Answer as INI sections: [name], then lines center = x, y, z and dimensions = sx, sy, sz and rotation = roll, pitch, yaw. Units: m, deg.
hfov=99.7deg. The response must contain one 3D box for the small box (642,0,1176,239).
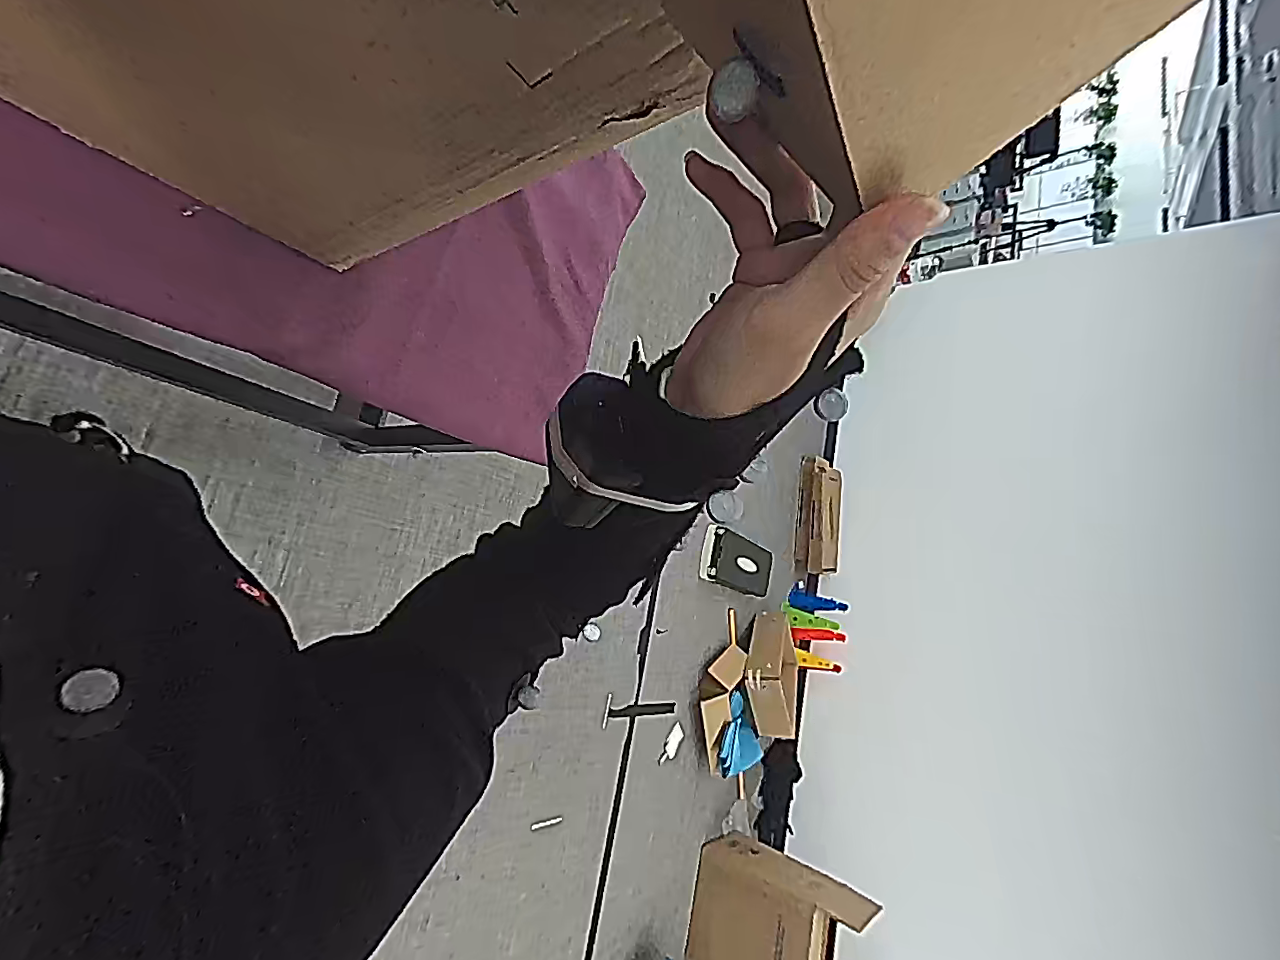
[small box]
center = 0.058, -0.207, 0.121
dimensions = 0.179, 0.168, 0.176
rotation = 27, 34, -55
